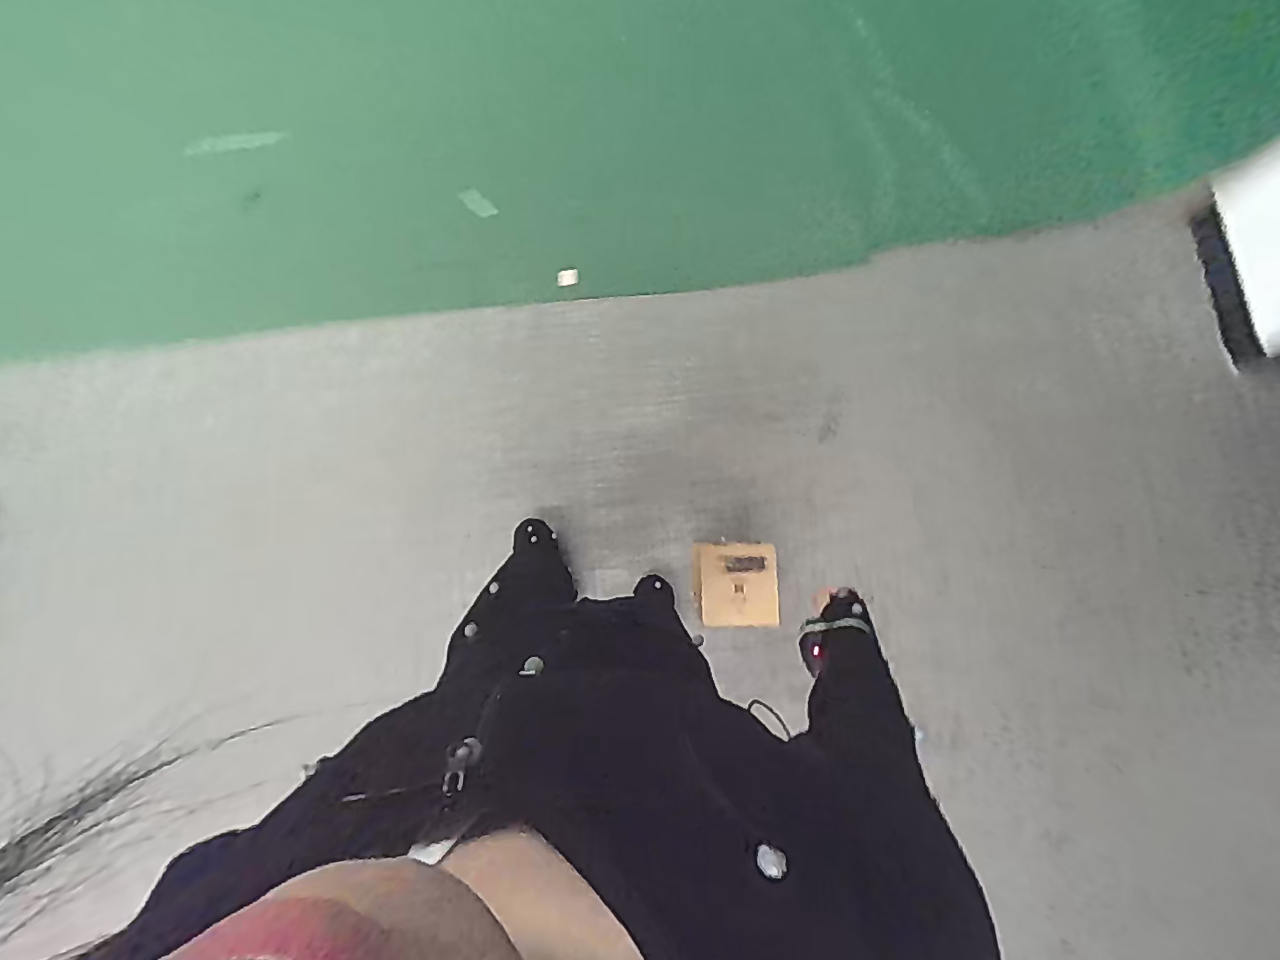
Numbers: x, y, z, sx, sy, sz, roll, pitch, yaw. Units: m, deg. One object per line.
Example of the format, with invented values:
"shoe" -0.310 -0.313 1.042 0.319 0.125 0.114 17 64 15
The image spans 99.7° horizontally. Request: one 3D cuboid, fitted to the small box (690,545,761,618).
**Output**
"small box" 0.220 0.260 1.413 0.168 0.176 0.179 1 82 2
